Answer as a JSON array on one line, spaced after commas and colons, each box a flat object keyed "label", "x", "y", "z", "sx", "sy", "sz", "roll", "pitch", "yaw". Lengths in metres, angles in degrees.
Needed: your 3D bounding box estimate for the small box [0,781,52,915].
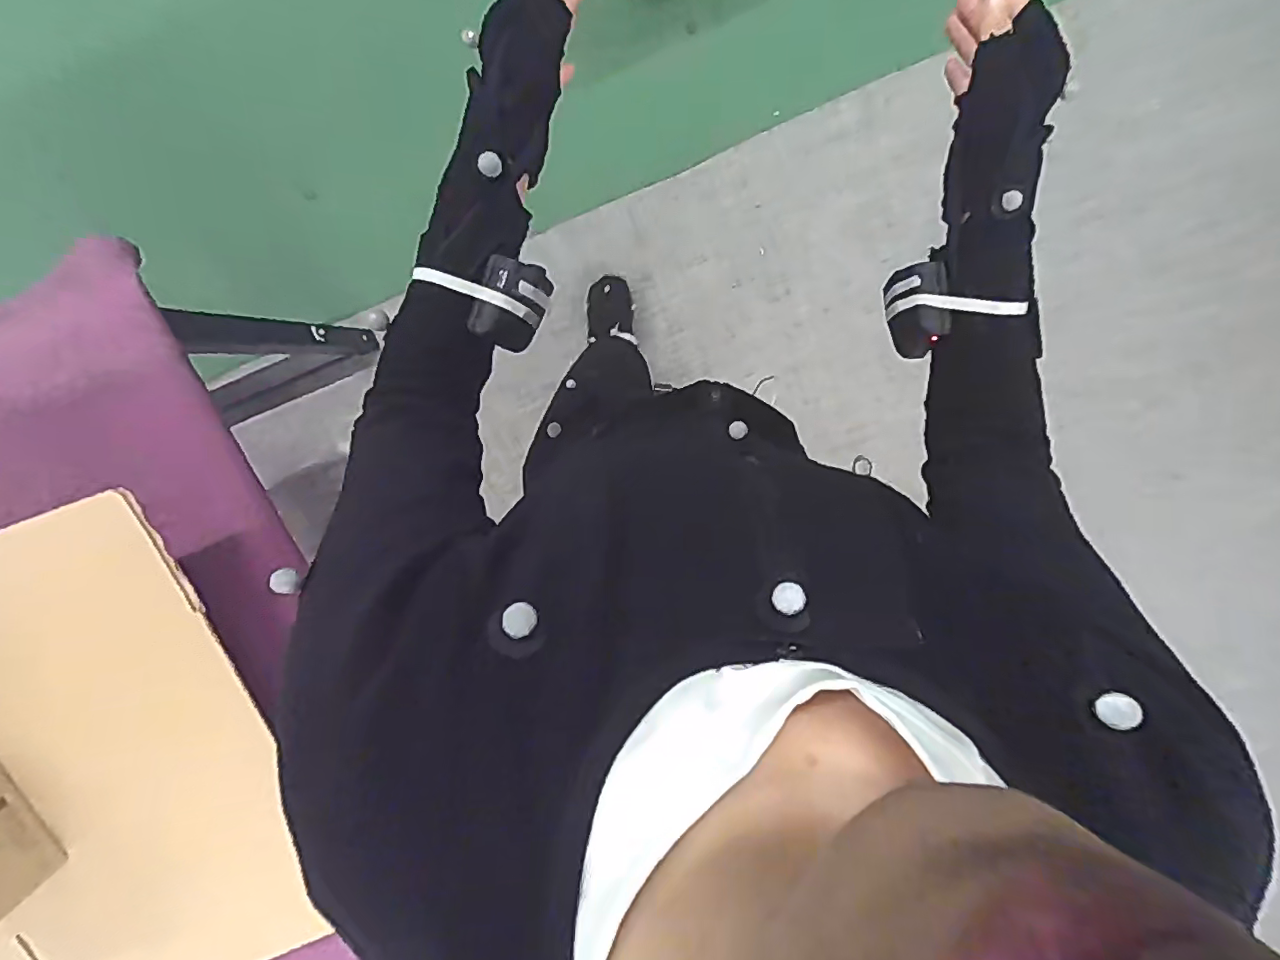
[{"label": "small box", "x": -0.779, "y": 0.422, "z": 0.538, "sx": 0.179, "sy": 0.176, "sz": 0.168, "roll": -19, "pitch": 103, "yaw": 5}]
